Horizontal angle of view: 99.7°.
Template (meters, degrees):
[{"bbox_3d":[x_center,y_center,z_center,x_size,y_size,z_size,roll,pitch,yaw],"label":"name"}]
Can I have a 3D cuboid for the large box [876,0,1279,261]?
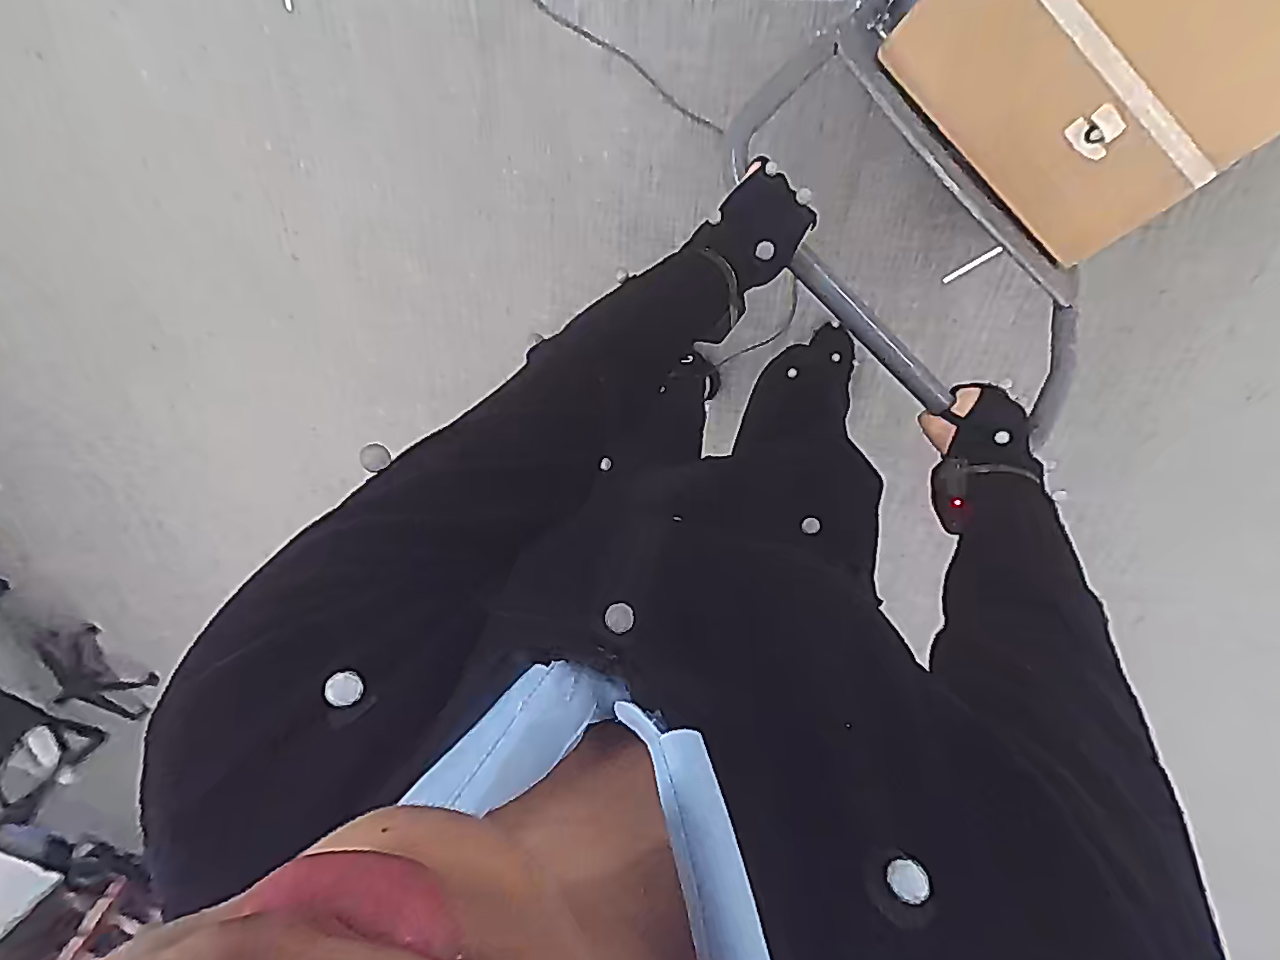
[{"bbox_3d":[0.598,-0.598,0.732,0.408,0.320,0.320,40,141,-9],"label":"large box"}]
